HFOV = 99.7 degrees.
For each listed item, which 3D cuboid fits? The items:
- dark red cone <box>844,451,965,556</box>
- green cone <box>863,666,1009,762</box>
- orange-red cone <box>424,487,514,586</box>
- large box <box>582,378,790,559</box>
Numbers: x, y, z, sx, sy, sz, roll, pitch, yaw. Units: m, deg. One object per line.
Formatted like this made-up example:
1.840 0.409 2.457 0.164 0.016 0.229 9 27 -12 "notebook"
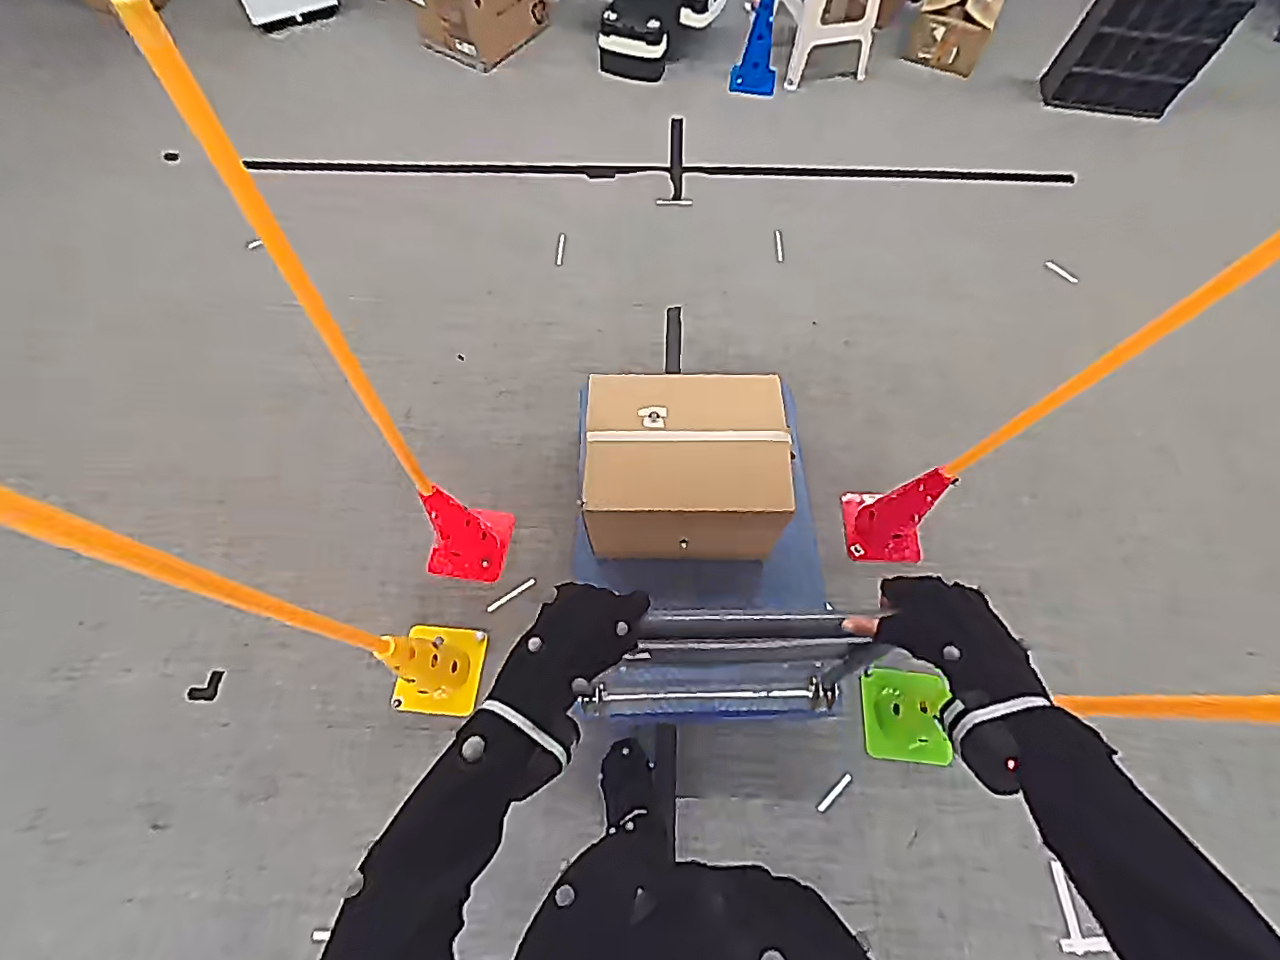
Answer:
0.676 0.041 1.341 0.201 0.394 0.202 2 64 -1 "dark red cone"
0.645 0.484 1.145 0.202 0.368 0.200 5 64 1 "green cone"
-0.456 0.107 1.331 0.198 0.360 0.199 8 63 3 "orange-red cone"
0.092 -0.012 1.223 0.408 0.320 0.320 -1 64 2 "large box"
